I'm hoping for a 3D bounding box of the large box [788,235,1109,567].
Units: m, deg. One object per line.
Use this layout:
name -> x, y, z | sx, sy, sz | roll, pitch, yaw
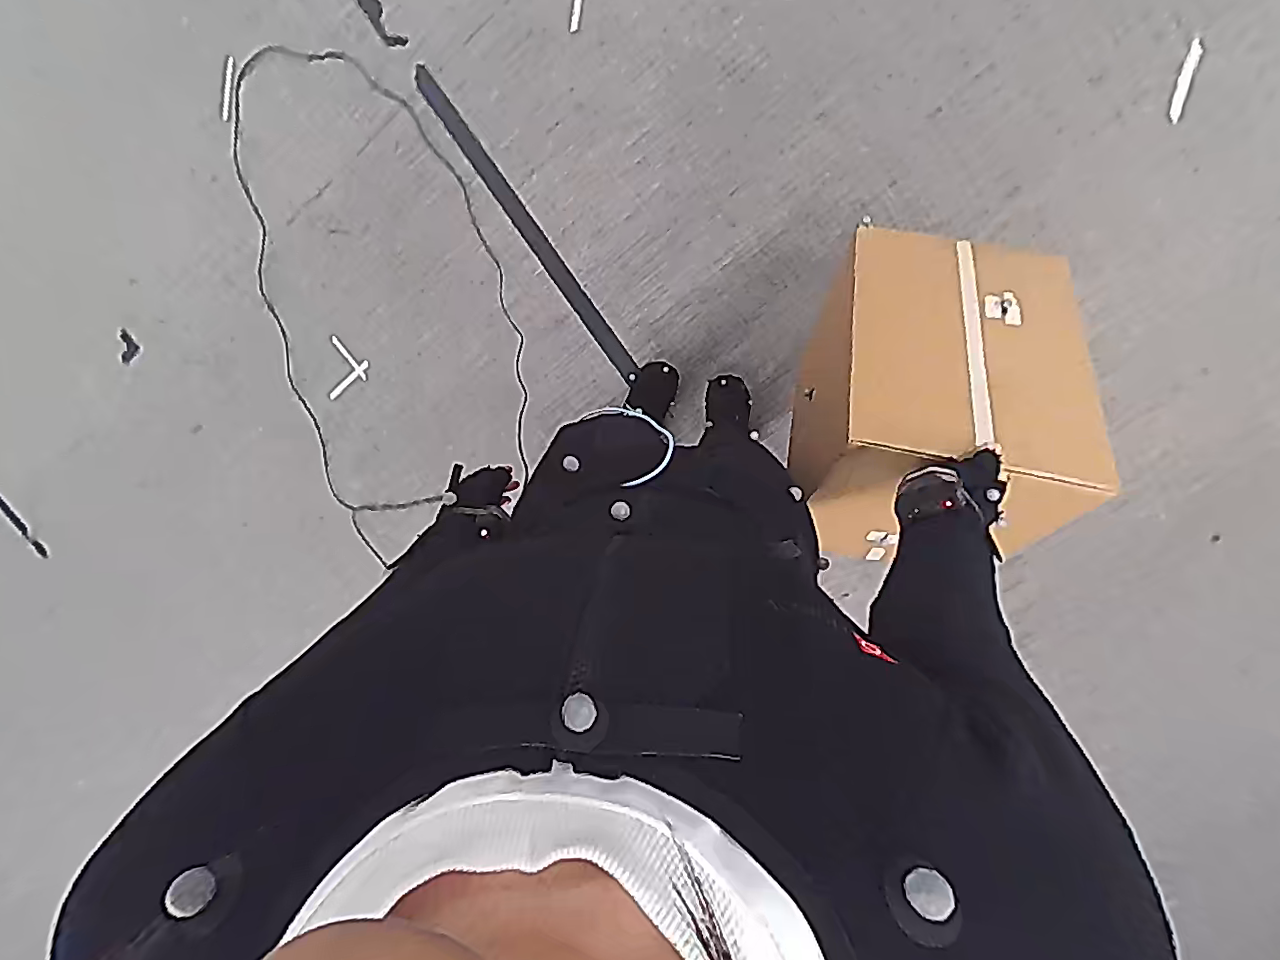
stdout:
large box -> 0.437, -0.116, 0.873 | 0.320, 0.320, 0.408 | 12, 60, 2
